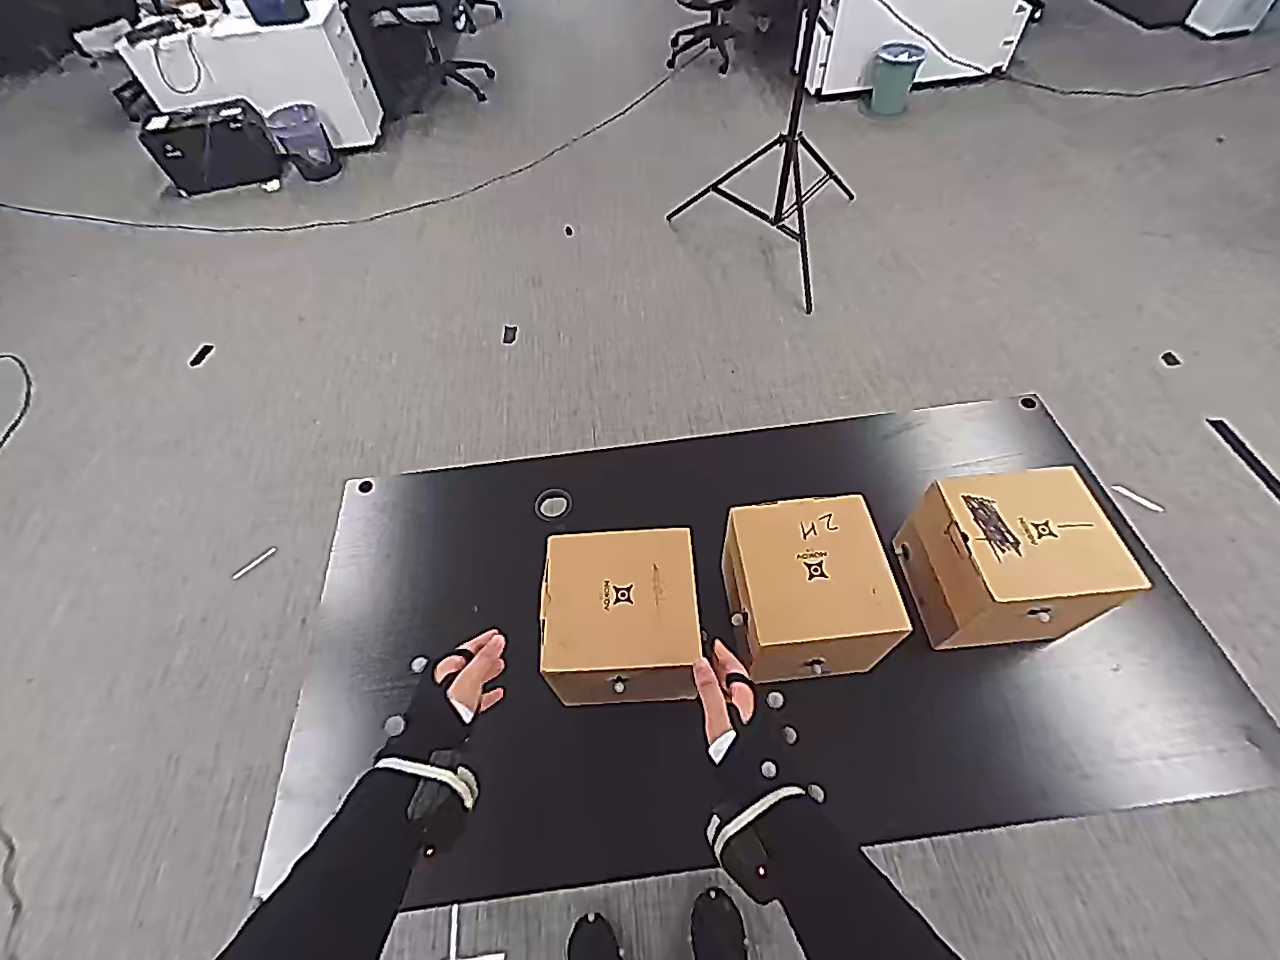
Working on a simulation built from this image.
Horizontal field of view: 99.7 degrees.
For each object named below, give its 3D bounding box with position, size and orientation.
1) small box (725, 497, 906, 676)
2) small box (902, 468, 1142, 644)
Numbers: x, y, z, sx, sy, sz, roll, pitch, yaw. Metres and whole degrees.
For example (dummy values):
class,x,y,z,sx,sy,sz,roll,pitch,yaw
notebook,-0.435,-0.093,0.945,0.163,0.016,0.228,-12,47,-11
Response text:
class,x,y,z,sx,sy,sz,roll,pitch,yaw
small box,0.208,0.145,0.697,0.168,0.176,0.179,-6,56,0
small box,0.466,0.105,0.704,0.179,0.176,0.168,-5,56,0
